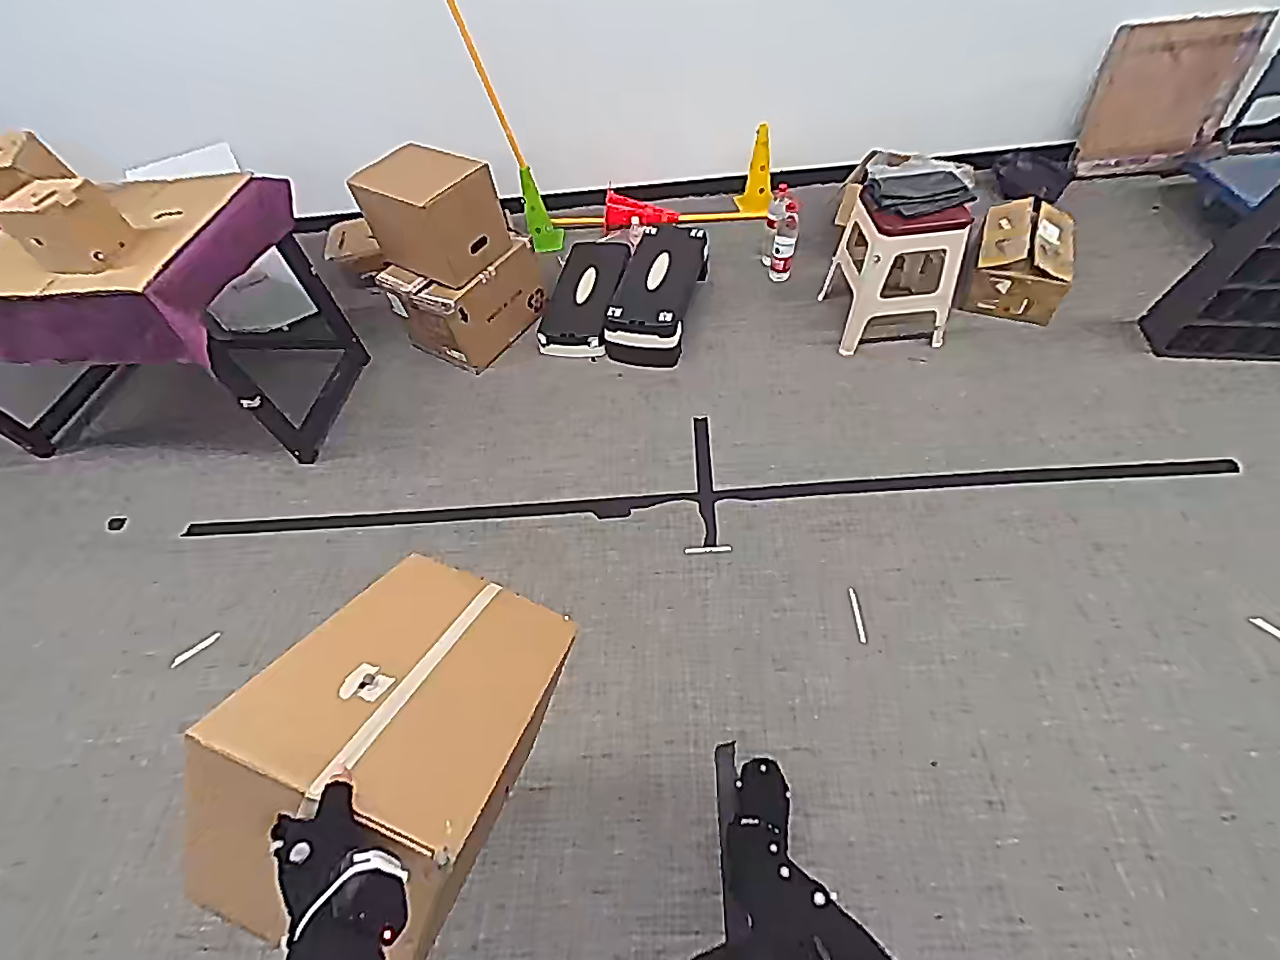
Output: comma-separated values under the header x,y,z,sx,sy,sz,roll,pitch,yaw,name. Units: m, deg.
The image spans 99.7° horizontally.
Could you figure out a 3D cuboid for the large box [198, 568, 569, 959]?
x,y,z,sx,sy,sz,roll,pitch,yaw,name
-0.344,0.404,0.808,0.320,0.320,0.408,21,24,4,large box
